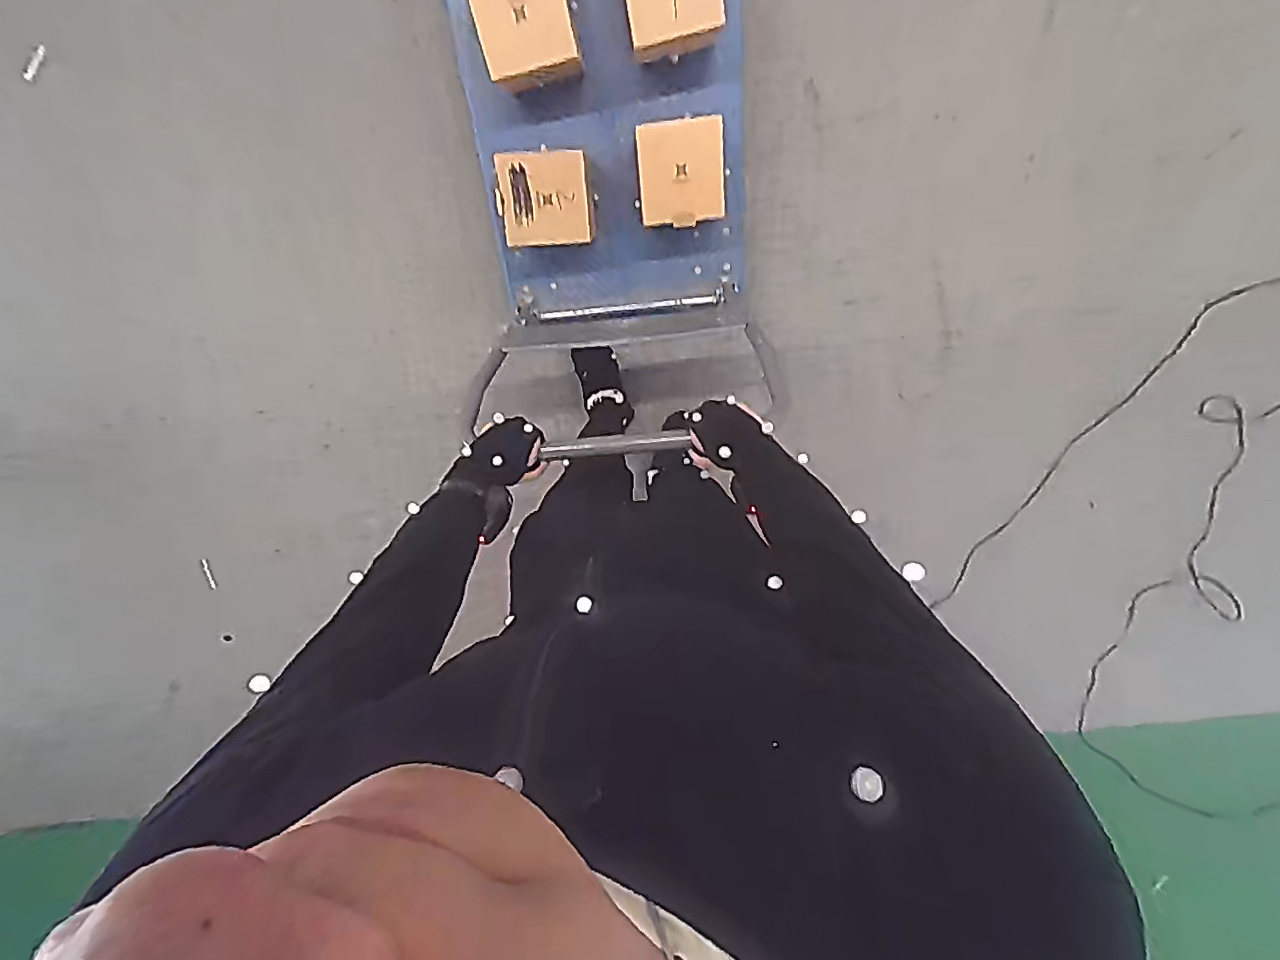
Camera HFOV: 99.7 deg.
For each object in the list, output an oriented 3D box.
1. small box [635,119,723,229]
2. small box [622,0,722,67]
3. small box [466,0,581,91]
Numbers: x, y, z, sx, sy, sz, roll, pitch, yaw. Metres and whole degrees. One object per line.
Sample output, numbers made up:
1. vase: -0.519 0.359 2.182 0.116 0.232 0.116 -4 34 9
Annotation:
1. small box: 0.077 -0.631 1.124 0.168 0.176 0.179 -5 119 3
2. small box: 0.050 -0.887 0.981 0.168 0.176 0.179 -9 119 6
3. small box: -0.212 -0.847 1.004 0.168 0.176 0.179 -11 118 5
